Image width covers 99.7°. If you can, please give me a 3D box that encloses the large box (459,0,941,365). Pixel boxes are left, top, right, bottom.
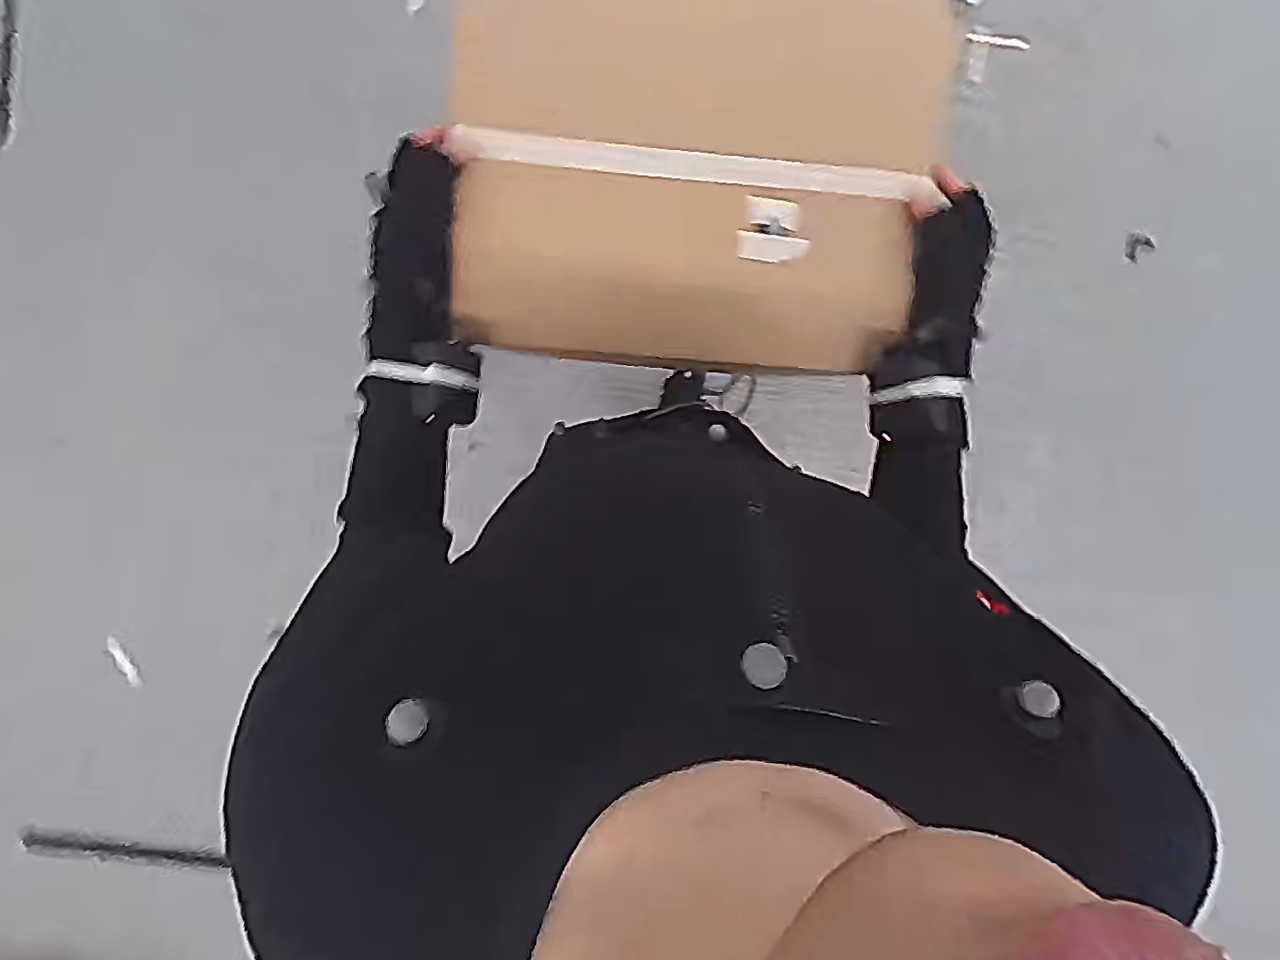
[{"bbox_3d":[0.034,-0.299,0.607,0.408,0.320,0.320,3,101,-6],"label":"large box"}]
